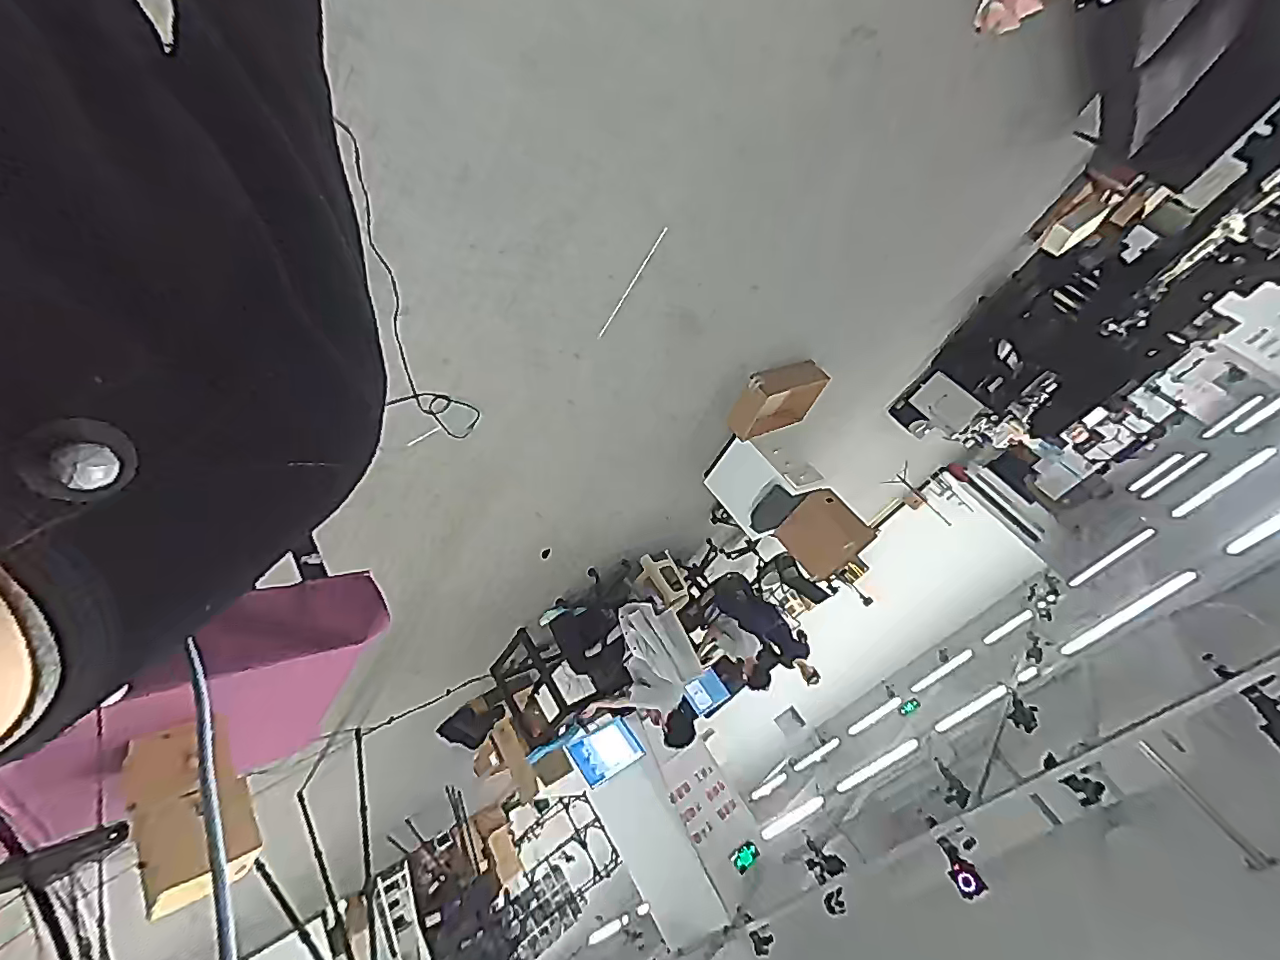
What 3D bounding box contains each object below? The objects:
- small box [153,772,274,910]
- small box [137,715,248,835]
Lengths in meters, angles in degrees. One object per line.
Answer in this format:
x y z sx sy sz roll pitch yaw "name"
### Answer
-0.956 0.796 1.207 0.179 0.176 0.168 1 136 -51 "small box"
-1.055 0.679 1.270 0.168 0.176 0.179 -1 138 -51 "small box"
